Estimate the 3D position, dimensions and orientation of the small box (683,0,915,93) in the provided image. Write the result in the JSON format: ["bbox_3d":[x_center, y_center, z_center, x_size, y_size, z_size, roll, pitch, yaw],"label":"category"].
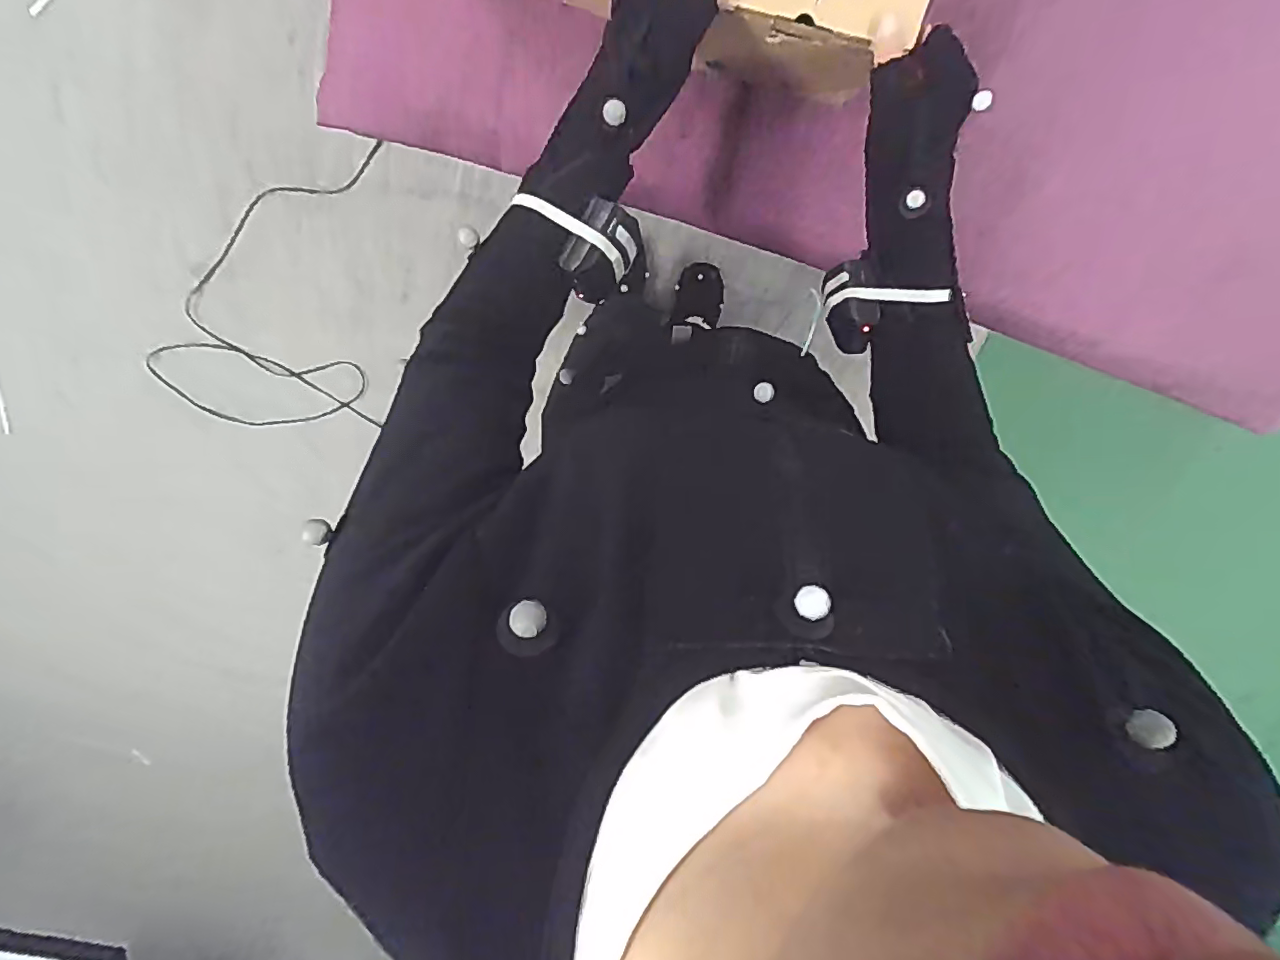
[{"bbox_3d":[0.133,-0.442,0.432,0.168,0.176,0.179,12,114,-3],"label":"small box"}]

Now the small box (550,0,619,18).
[{"bbox_3d":[-0.080,-0.528,0.432,0.168,0.176,0.179,16,113,-5],"label":"small box"}]
